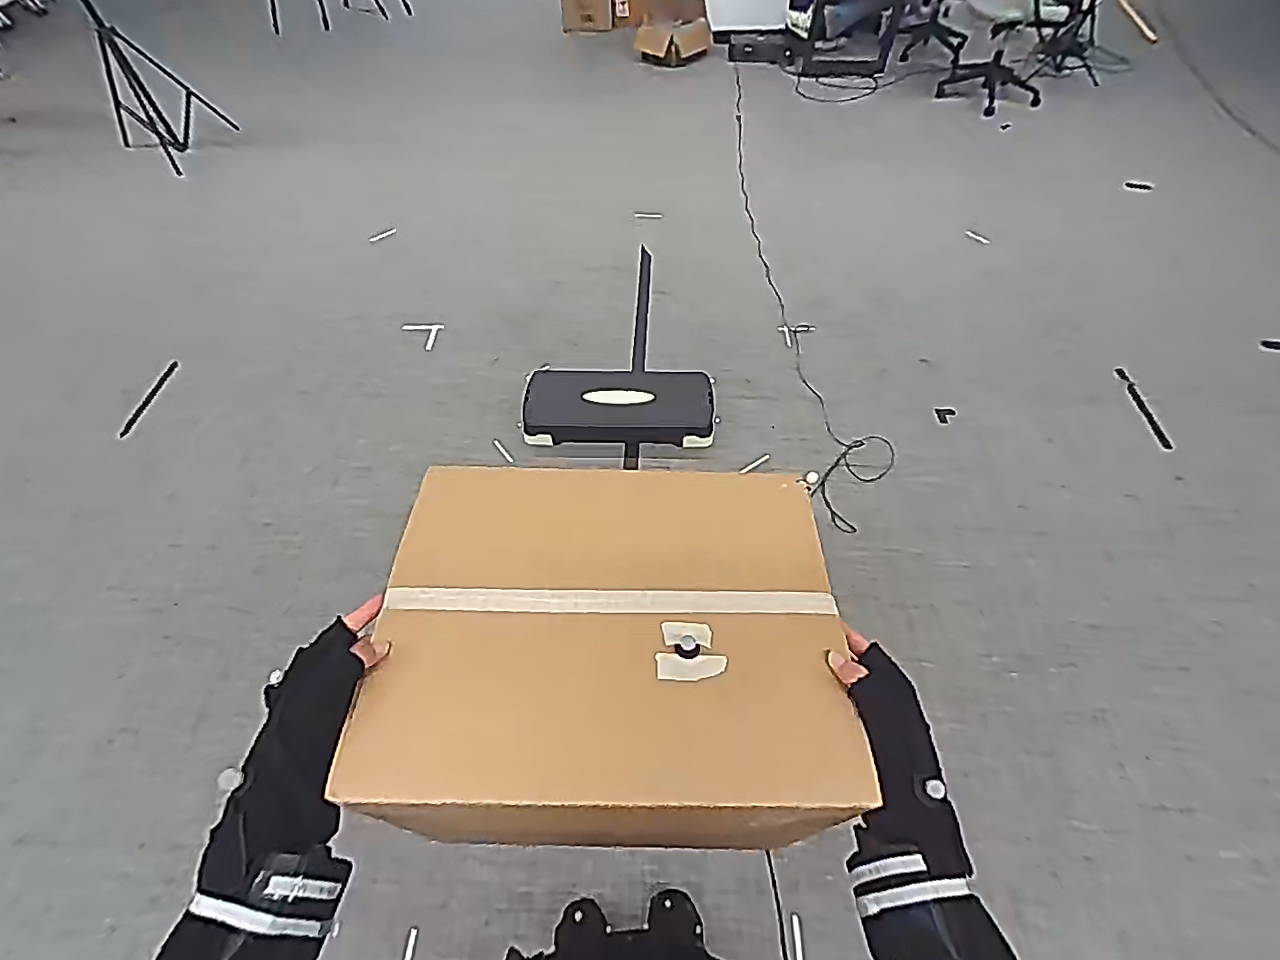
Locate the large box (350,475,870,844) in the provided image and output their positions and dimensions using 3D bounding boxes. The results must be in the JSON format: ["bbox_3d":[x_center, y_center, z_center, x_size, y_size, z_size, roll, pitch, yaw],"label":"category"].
[{"bbox_3d":[-0.026,0.210,0.615,0.408,0.320,0.320,1,51,-1],"label":"large box"}]
